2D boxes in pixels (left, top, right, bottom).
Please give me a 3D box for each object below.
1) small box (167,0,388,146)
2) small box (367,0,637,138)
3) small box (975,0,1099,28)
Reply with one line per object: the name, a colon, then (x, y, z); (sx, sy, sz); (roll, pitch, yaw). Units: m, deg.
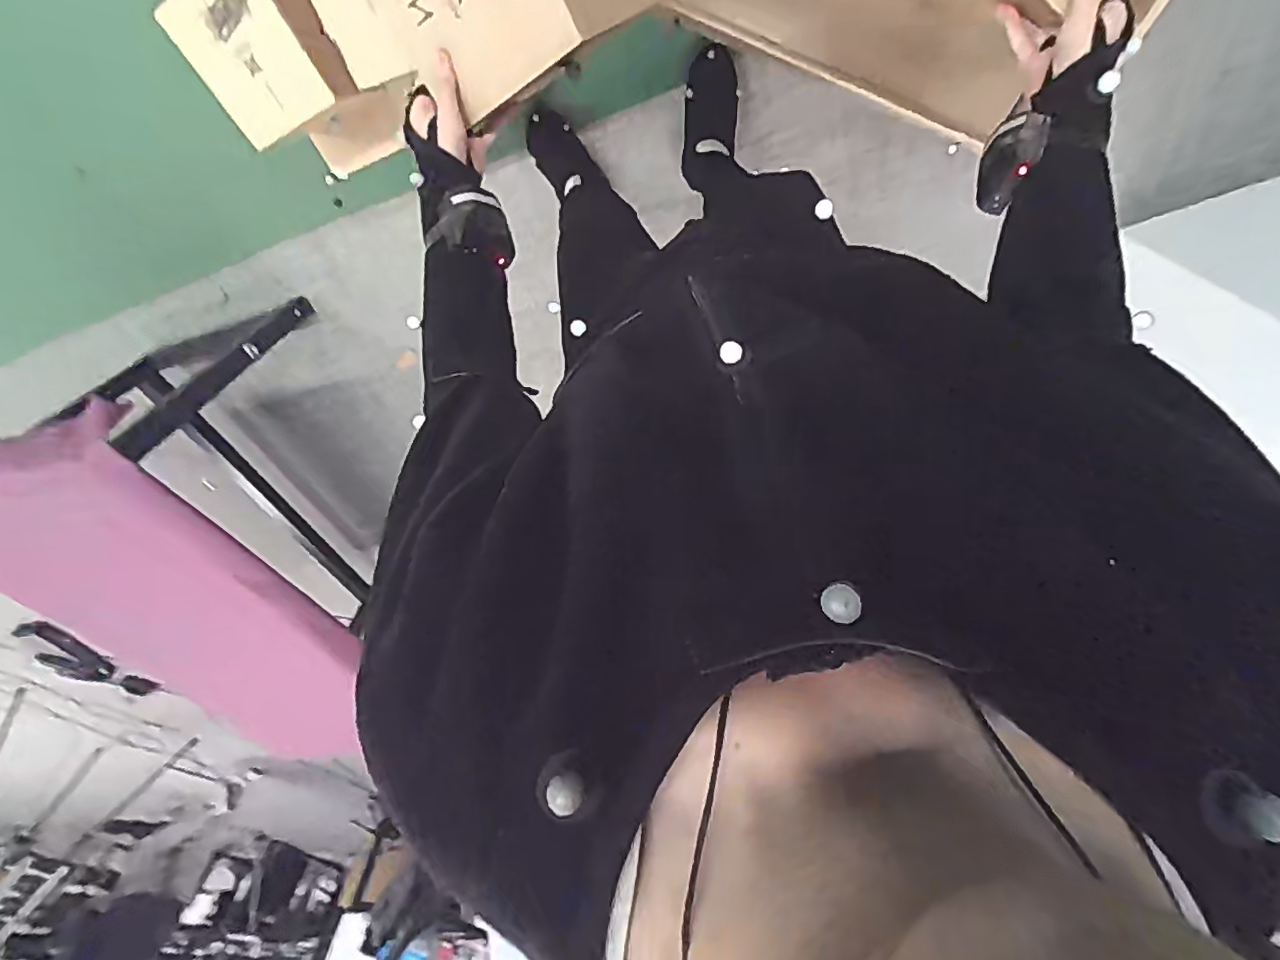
small box: (-0.524, -0.639, 0.810); (0.168, 0.176, 0.179); (-15, 128, 18)
small box: (-0.121, -0.456, 0.487); (0.179, 0.176, 0.168); (-4, 132, 38)
small box: (0.347, -0.529, 0.453); (0.179, 0.176, 0.168); (26, 129, -15)
